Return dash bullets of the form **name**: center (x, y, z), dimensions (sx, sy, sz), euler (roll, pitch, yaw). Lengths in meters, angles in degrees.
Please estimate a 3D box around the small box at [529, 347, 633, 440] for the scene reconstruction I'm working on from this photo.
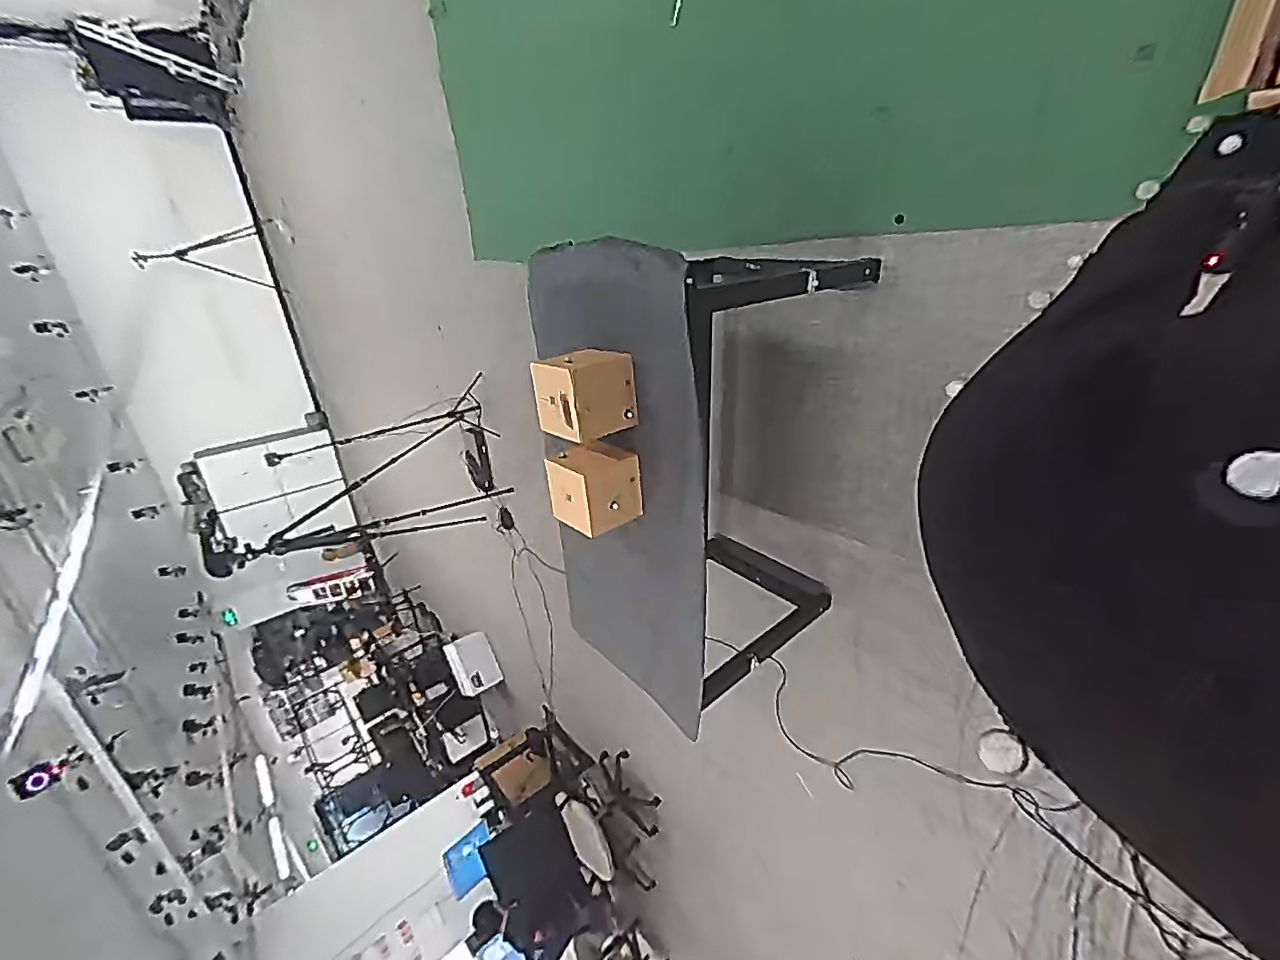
- **small box**: center (-0.128, -0.208, 1.251), dimensions (0.179, 0.176, 0.168), euler (21, 125, 47)

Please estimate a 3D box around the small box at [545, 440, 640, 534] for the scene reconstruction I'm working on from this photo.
- **small box**: center (-0.111, 0.009, 1.354), dimensions (0.179, 0.176, 0.168), euler (21, 125, 47)
